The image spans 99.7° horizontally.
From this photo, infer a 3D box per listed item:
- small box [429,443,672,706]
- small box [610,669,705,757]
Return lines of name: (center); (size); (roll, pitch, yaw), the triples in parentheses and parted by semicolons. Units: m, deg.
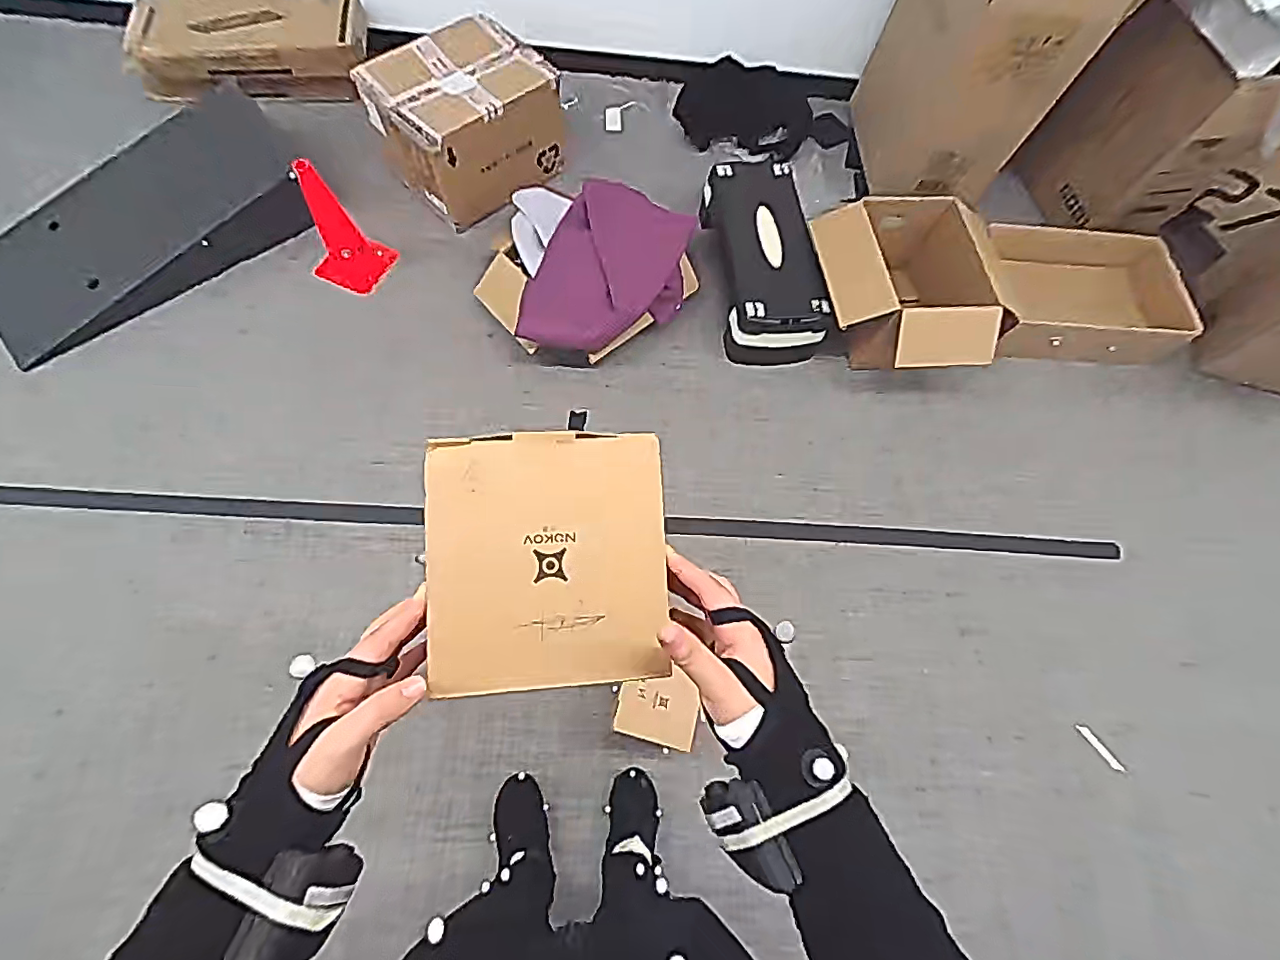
small box: (-0.073, 0.070, 0.453); (0.168, 0.176, 0.179); (-2, 85, -9)
small box: (0.036, 0.522, 1.252); (0.179, 0.176, 0.168); (16, 67, 2)
